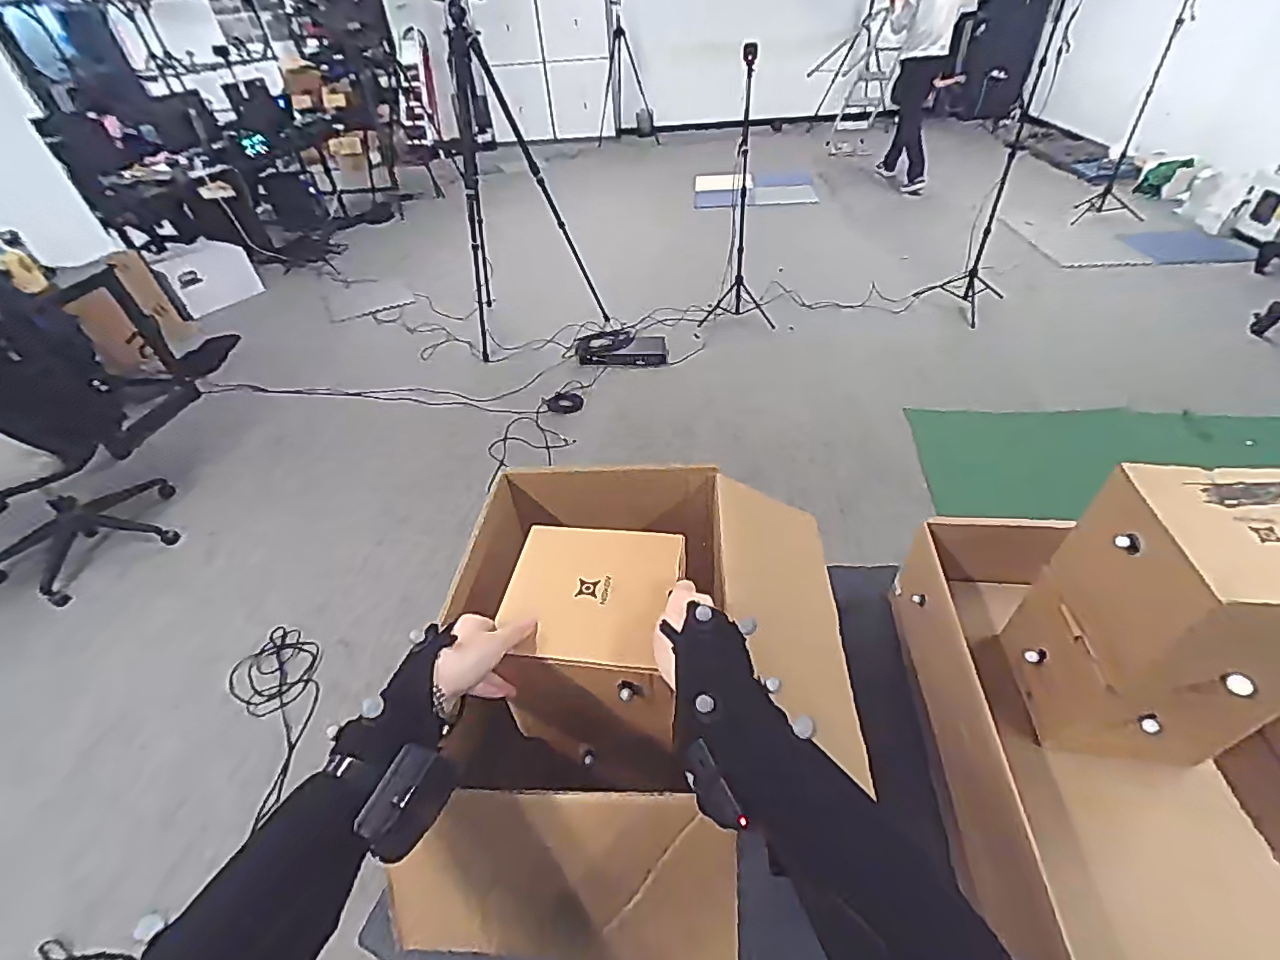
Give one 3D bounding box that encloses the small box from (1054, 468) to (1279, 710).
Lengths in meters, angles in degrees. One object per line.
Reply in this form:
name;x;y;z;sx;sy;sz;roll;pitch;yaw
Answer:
small box;0.577;0.108;0.557;0.168;0.176;0.179;2;43;9
